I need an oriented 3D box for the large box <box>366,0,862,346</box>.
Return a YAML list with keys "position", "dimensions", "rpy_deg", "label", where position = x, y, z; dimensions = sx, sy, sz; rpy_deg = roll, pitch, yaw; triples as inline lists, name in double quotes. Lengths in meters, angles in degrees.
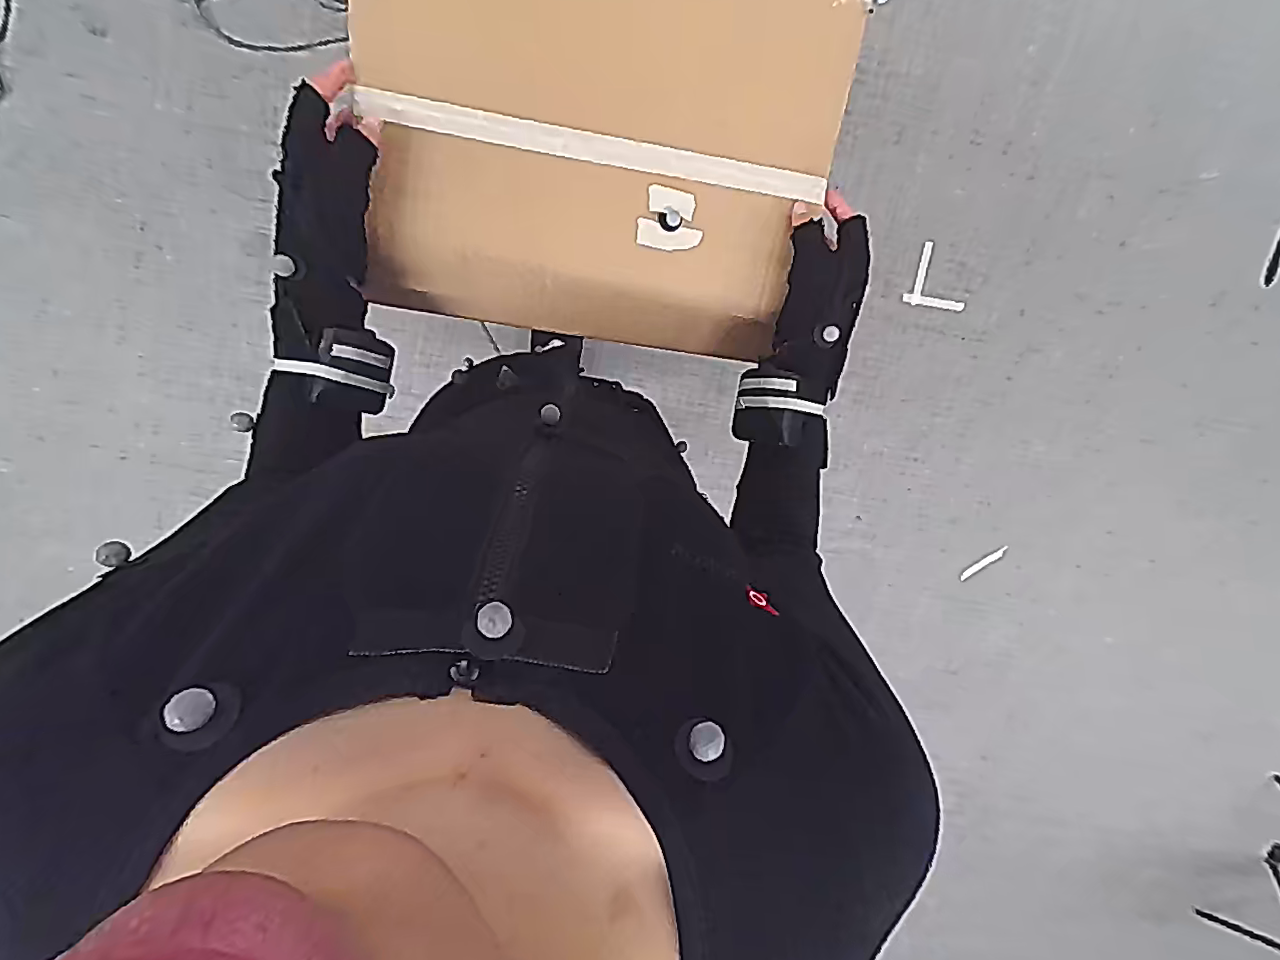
- position: [-0.043, -0.346, 0.608]
  dimensions: [0.408, 0.320, 0.320]
  rpy_deg: [6, 110, -8]
  label: "large box"
